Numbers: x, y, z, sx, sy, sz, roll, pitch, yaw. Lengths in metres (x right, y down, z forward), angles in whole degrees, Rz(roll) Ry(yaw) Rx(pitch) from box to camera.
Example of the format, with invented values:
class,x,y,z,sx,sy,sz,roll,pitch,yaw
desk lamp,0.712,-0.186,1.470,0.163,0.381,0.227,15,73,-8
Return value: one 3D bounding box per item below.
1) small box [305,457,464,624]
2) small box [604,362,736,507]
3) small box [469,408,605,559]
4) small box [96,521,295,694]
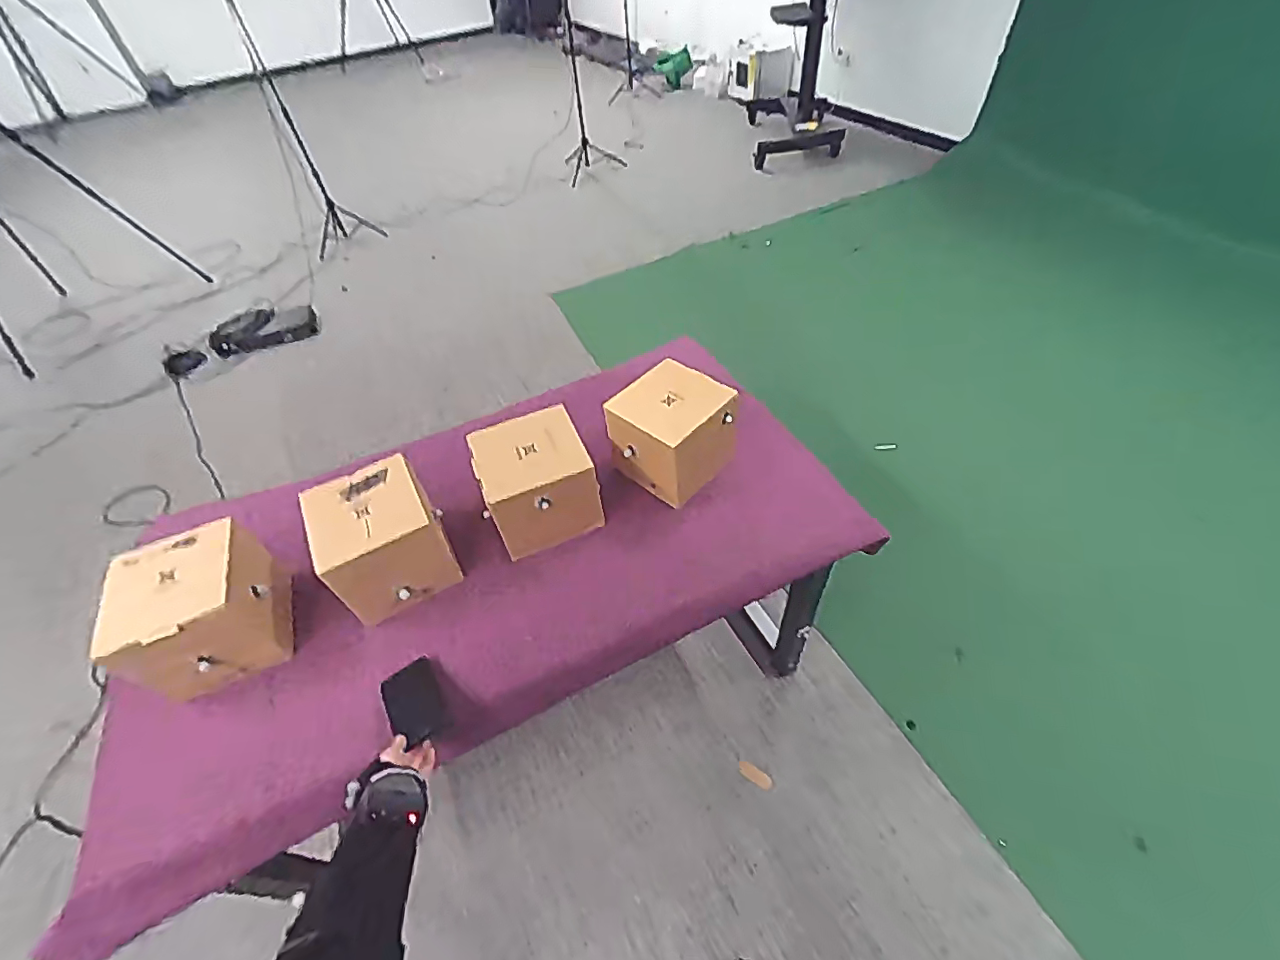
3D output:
class,x,y,z,sx,sy,sz,roll,pitch,yaw
small box,-0.412,0.100,0.884,0.168,0.176,0.179,-26,52,-16
small box,0.061,-0.082,0.995,0.168,0.176,0.179,33,59,30
small box,-0.175,0.010,0.940,0.179,0.176,0.168,-20,50,-11
small box,-0.653,0.200,0.821,0.168,0.176,0.179,-22,51,-13
